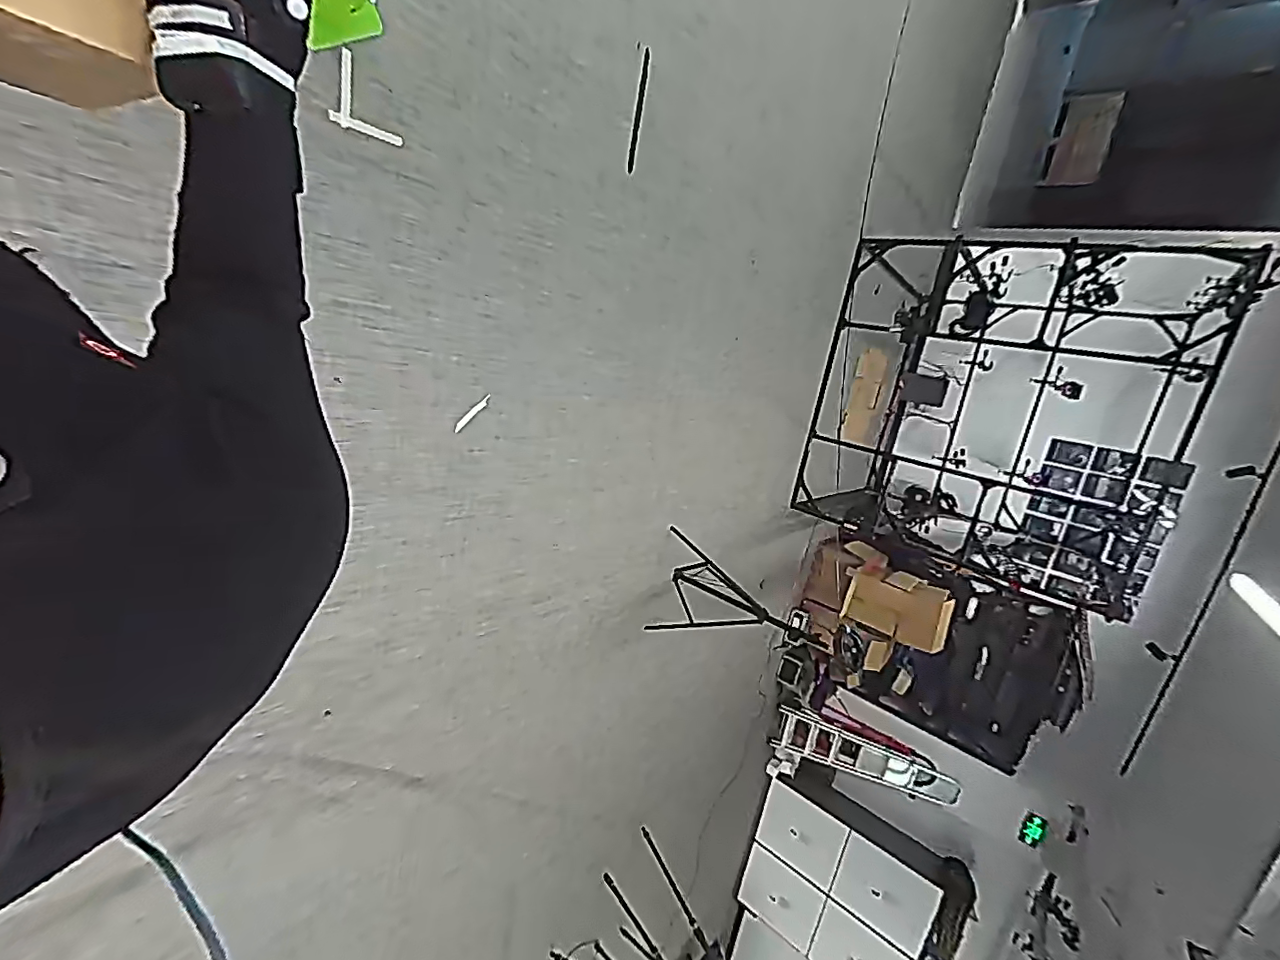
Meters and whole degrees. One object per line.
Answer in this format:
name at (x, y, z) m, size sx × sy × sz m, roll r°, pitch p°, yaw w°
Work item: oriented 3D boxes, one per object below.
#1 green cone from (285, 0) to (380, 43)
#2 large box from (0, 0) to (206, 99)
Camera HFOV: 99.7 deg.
green cone at (-0.548, -1.022, 1.055) m, size 0.202 × 0.368 × 0.200 m, roll -48°, pitch 140°, yaw -30°
large box at (-0.517, -0.456, 0.265) m, size 0.408 × 0.320 × 0.320 m, roll -10°, pitch 116°, yaw -55°
